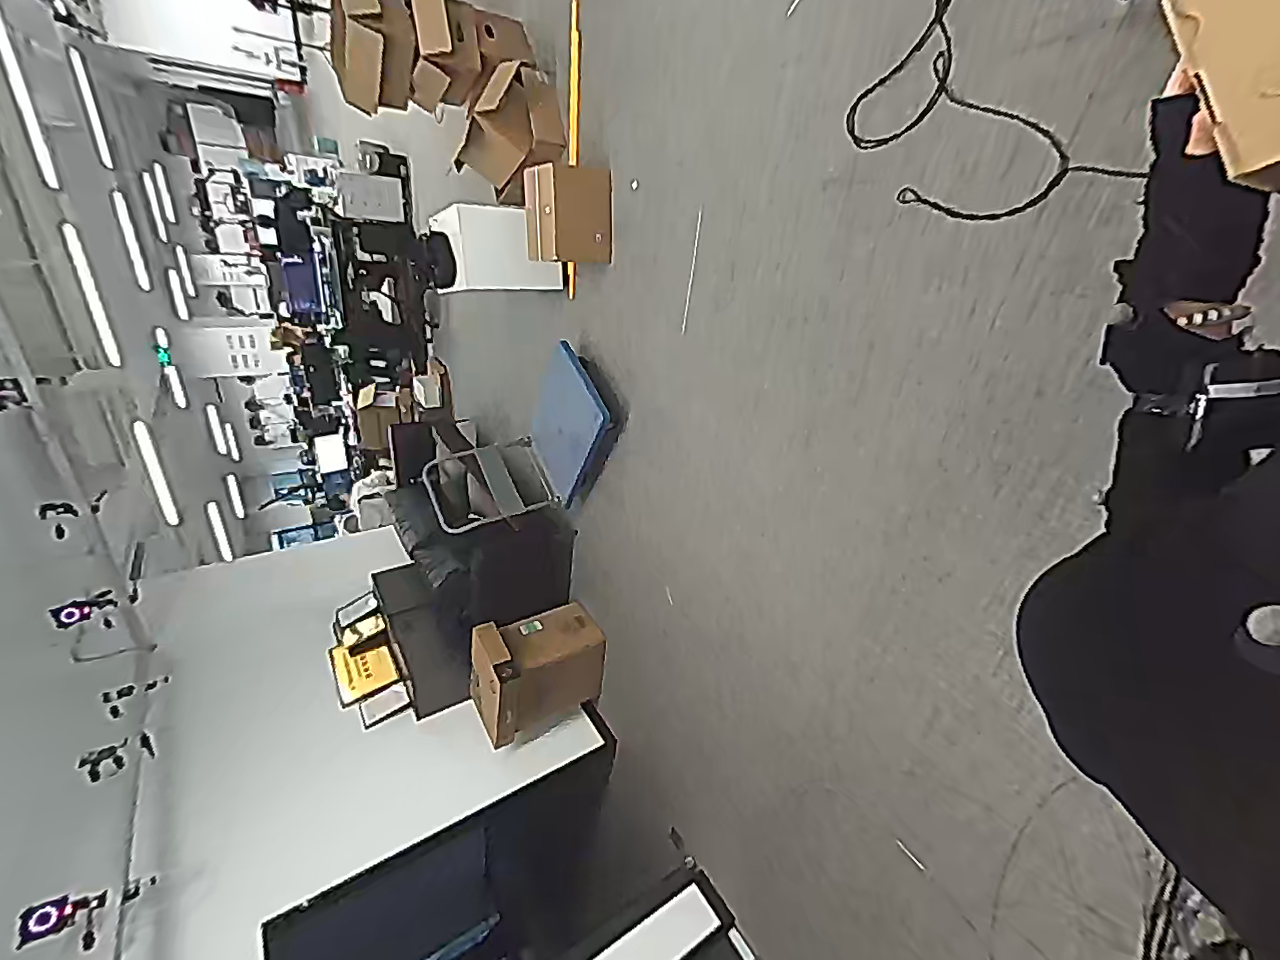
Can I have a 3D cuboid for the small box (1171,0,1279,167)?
[{"bbox_3d":[0.389,-0.272,0.250,0.179,0.176,0.168,-19,88,58],"label":"small box"}]
